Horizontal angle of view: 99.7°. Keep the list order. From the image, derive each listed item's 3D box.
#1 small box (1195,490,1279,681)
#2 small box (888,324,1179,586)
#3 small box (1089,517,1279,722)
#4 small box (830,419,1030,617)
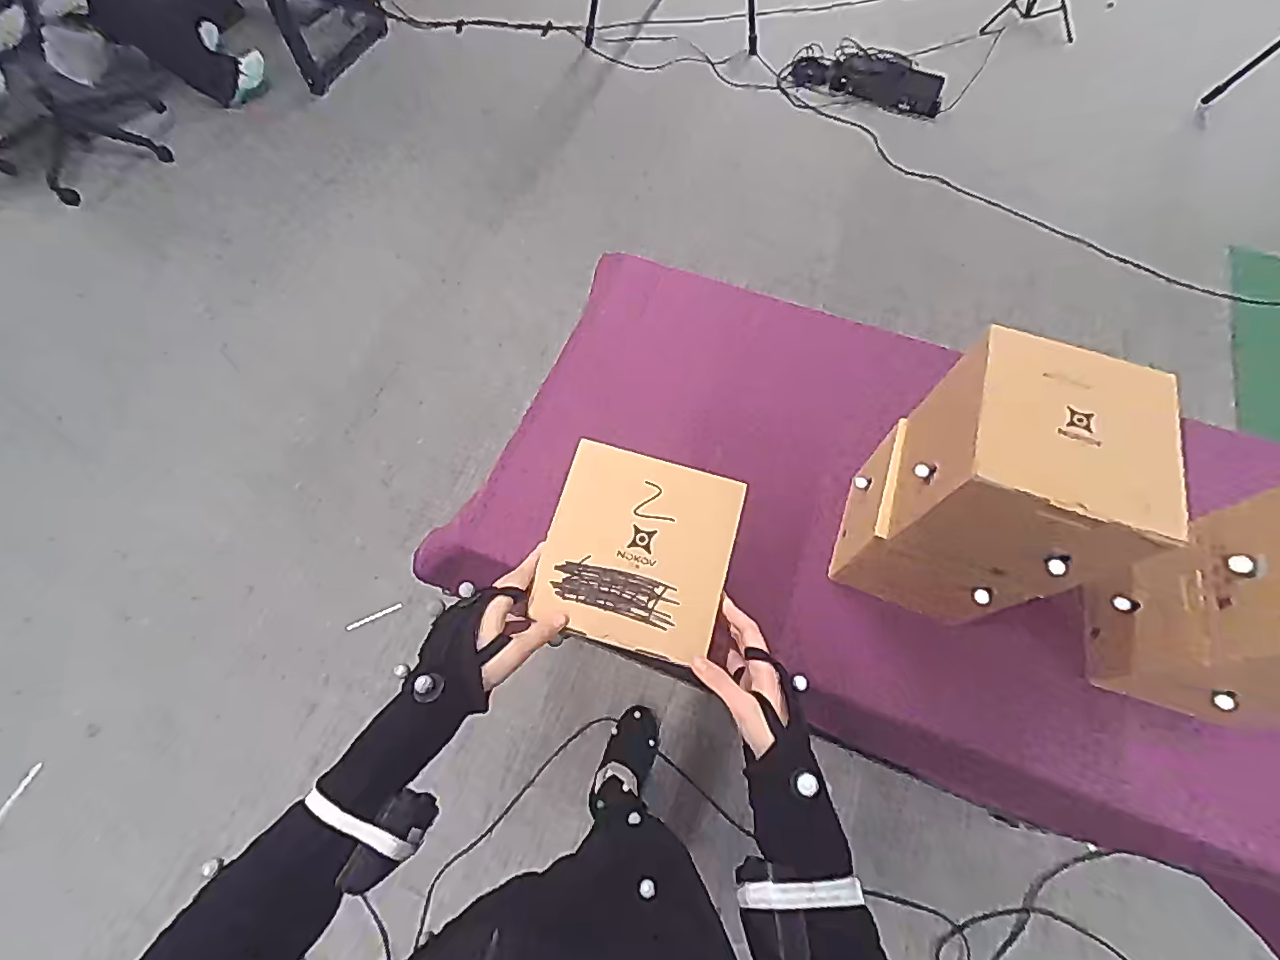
[{"bbox_3d":[0.662,0.097,0.475,0.179,0.176,0.168,18,64,9],"label":"small box"},{"bbox_3d":[0.369,-0.015,0.536,0.168,0.176,0.179,20,64,8],"label":"small box"},{"bbox_3d":[0.662,0.168,0.624,0.179,0.176,0.168,17,65,9],"label":"small box"},{"bbox_3d":[0.361,0.056,0.683,0.179,0.176,0.168,20,65,9],"label":"small box"}]
